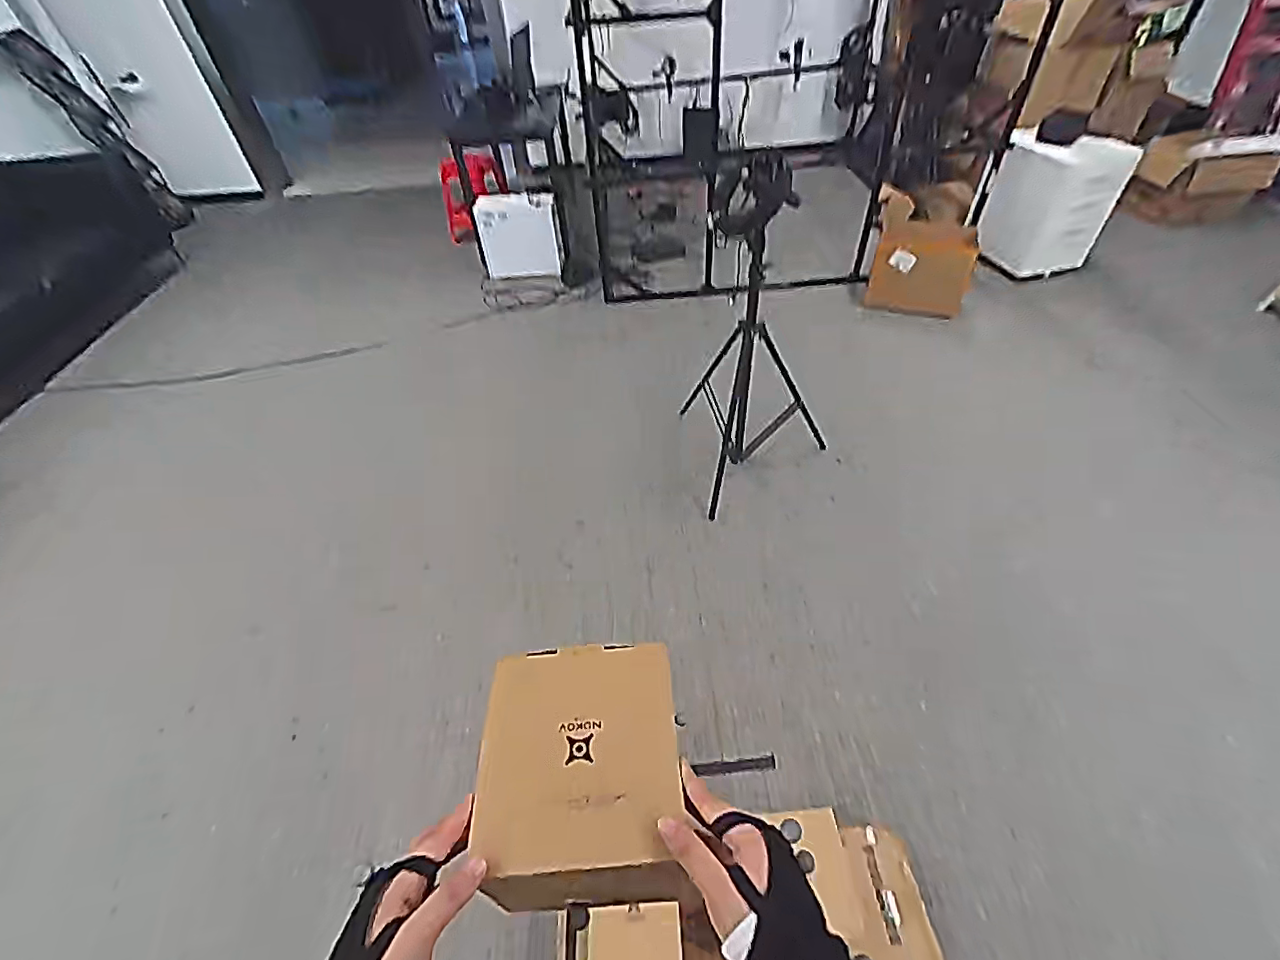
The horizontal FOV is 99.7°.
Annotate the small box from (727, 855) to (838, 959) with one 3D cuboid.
[{"bbox_3d":[0.259,0.812,1.028,0.168,0.176,0.179,-2,46,3],"label":"small box"}]

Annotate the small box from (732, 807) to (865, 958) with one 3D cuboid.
[{"bbox_3d":[0.254,0.685,0.921,0.168,0.176,0.179,-6,45,0],"label":"small box"}]

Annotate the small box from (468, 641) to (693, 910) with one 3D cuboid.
[{"bbox_3d":[-0.047,0.275,0.505,0.168,0.176,0.179,-5,46,-2],"label":"small box"}]
